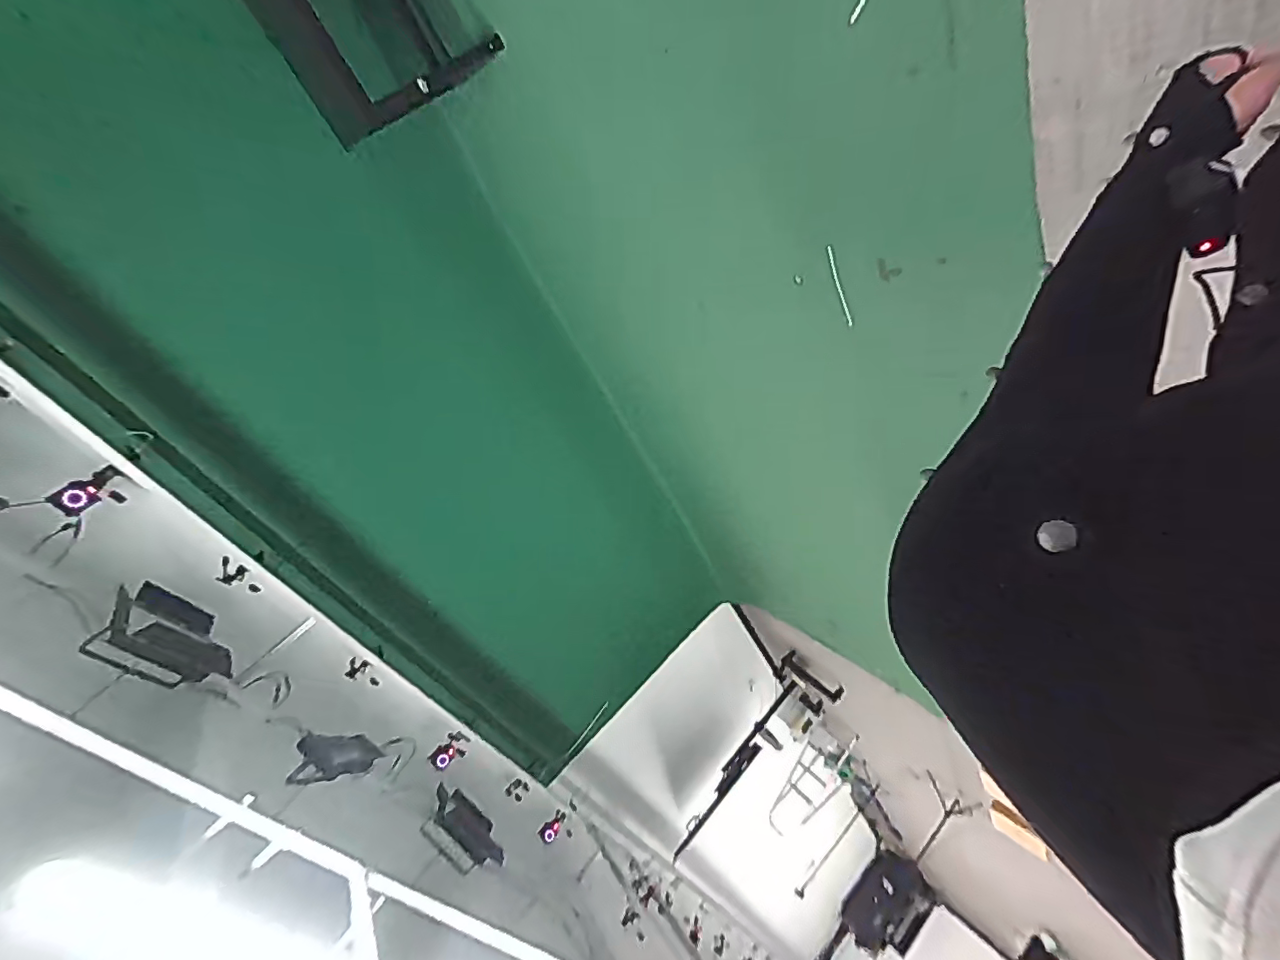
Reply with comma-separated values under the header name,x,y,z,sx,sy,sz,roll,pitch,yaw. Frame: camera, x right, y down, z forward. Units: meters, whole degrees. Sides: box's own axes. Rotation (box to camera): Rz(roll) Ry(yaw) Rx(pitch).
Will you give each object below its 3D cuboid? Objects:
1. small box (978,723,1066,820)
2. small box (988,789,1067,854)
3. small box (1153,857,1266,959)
name,x,y,z,sx,sy,sz,roll,pitch,yaw
small box,1.175,0.889,1.658,0.168,0.176,0.179,22,153,52
small box,1.303,1.093,1.812,0.168,0.176,0.179,20,149,52
small box,1.529,1.171,1.455,0.168,0.176,0.179,24,151,54
